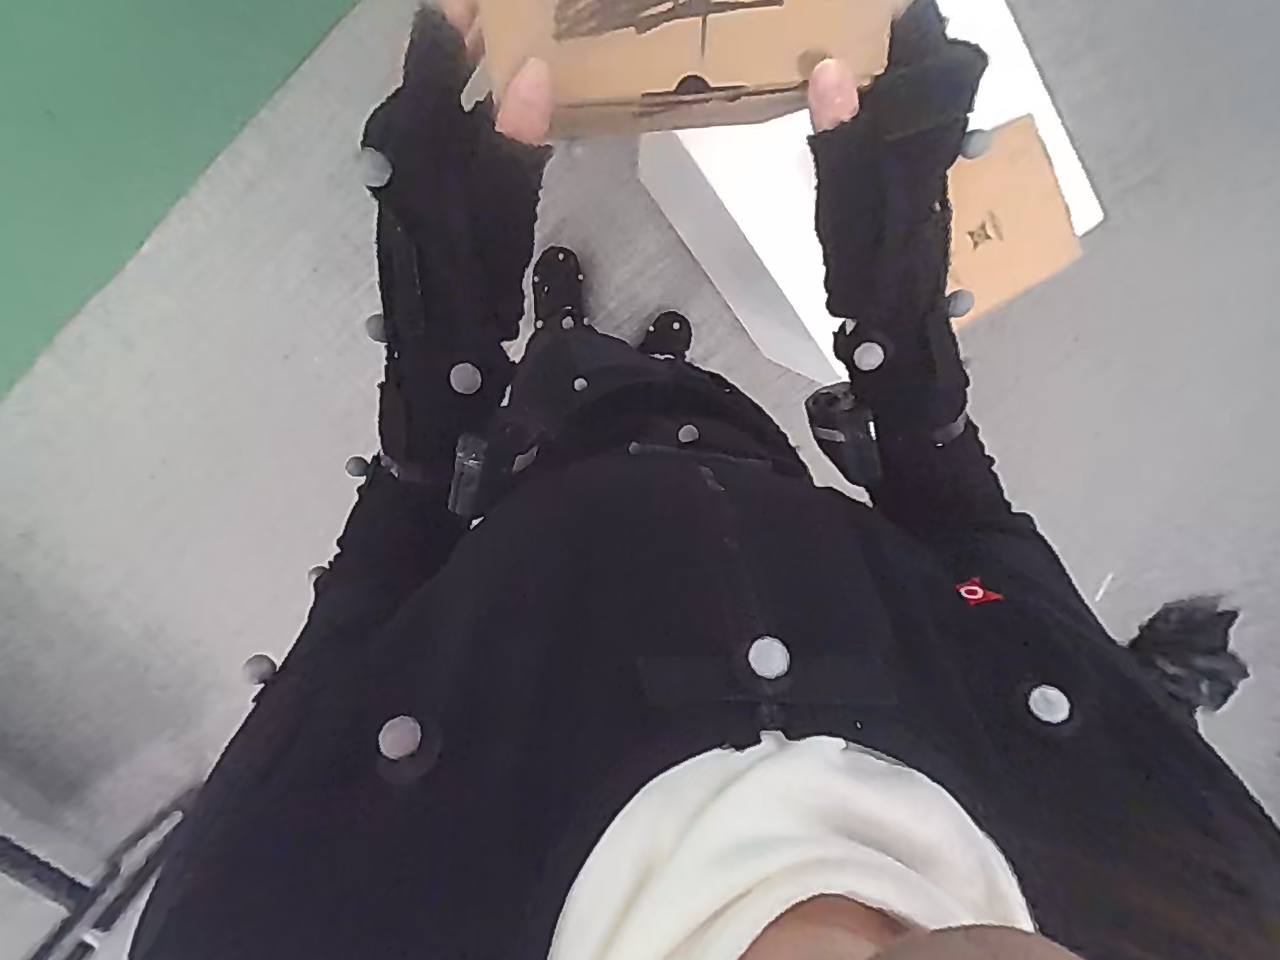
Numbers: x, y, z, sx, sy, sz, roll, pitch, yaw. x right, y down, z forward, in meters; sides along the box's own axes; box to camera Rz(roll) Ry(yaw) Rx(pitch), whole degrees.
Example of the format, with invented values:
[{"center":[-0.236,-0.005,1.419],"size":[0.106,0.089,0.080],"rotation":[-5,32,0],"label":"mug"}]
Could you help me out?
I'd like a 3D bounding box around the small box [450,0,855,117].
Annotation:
[{"center":[-0.004,-0.284,0.255],"size":[0.168,0.176,0.179],"rotation":[-7,118,-4],"label":"small box"}]
